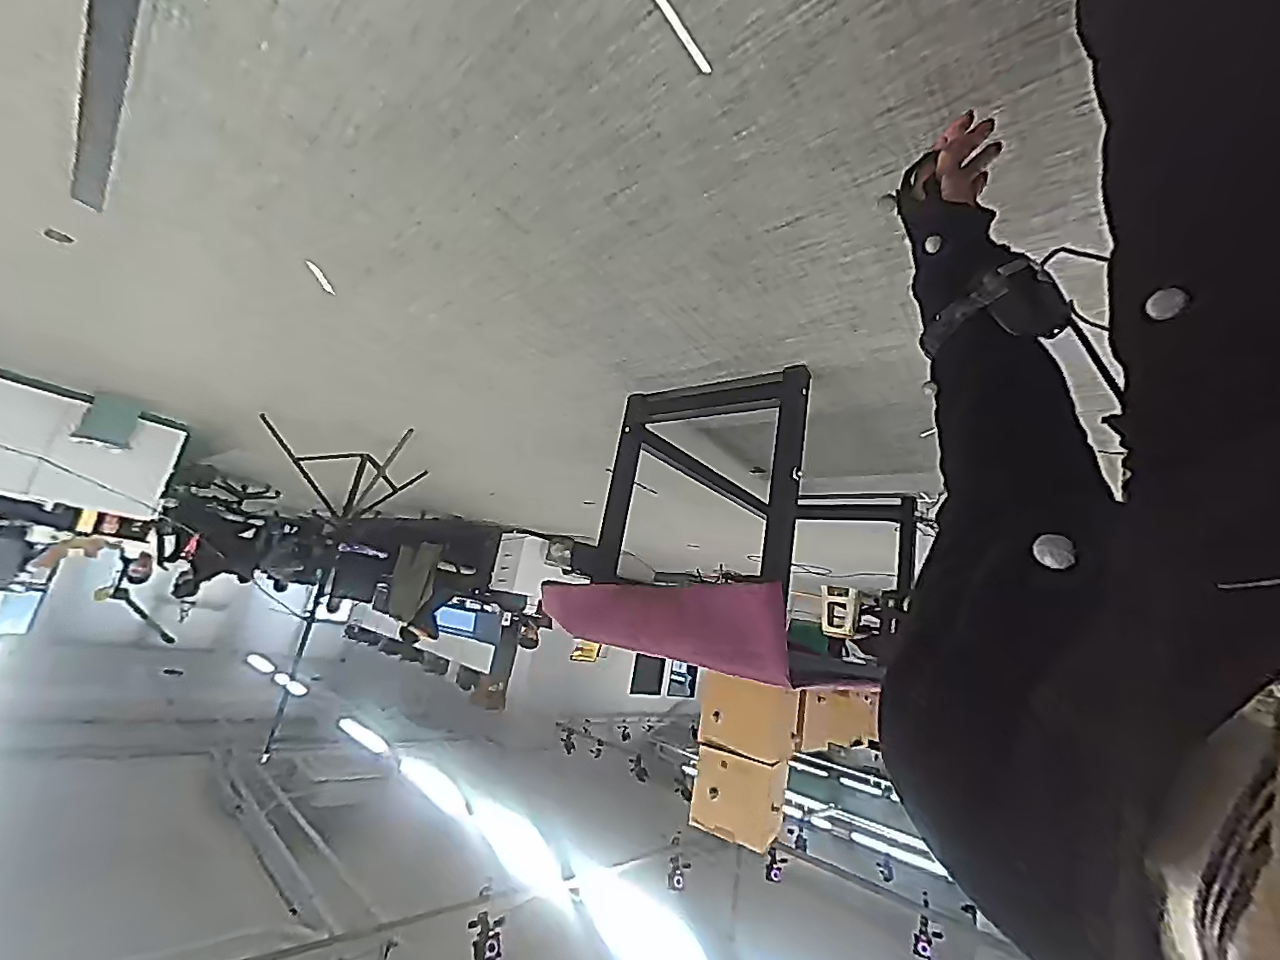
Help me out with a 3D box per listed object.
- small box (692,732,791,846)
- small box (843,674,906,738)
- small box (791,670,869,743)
[{"bbox_3d":[0.234,0.683,1.221,0.168,0.176,0.179,4,167,30],"label":"small box"},{"bbox_3d":[0.800,0.769,1.851,0.168,0.176,0.179,-3,160,43],"label":"small box"},{"bbox_3d":[0.578,0.676,1.632,0.179,0.176,0.168,-3,161,43],"label":"small box"}]
